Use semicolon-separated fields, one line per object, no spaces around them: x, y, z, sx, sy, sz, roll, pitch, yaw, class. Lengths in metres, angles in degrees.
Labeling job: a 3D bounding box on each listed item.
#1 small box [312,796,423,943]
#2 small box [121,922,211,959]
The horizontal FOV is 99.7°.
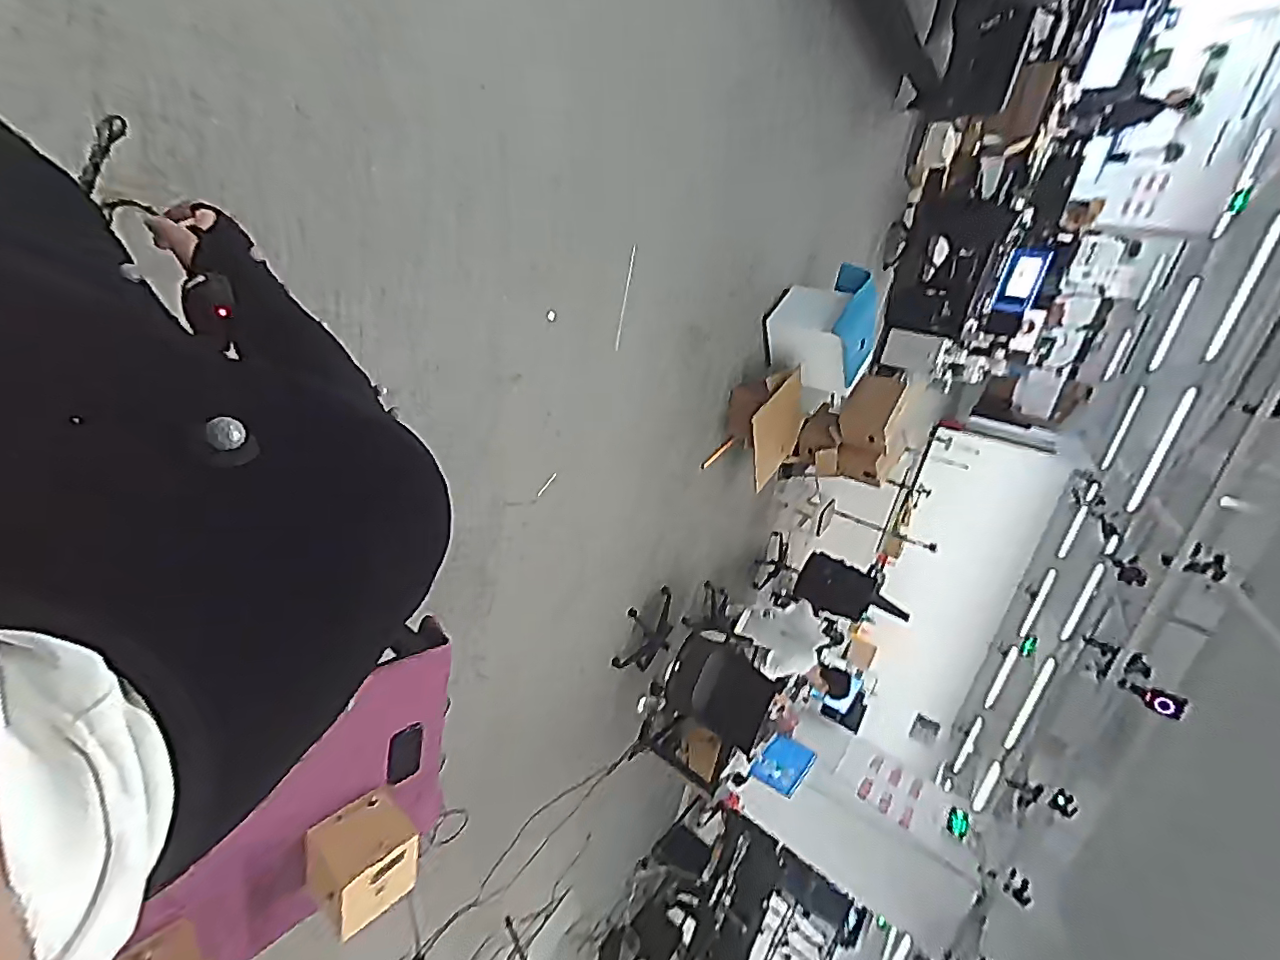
-0.606;0.845;1.200;0.168;0.176;0.179;-14;122;-51;small box
-0.833;0.926;0.924;0.168;0.176;0.179;-15;121;-52;small box
